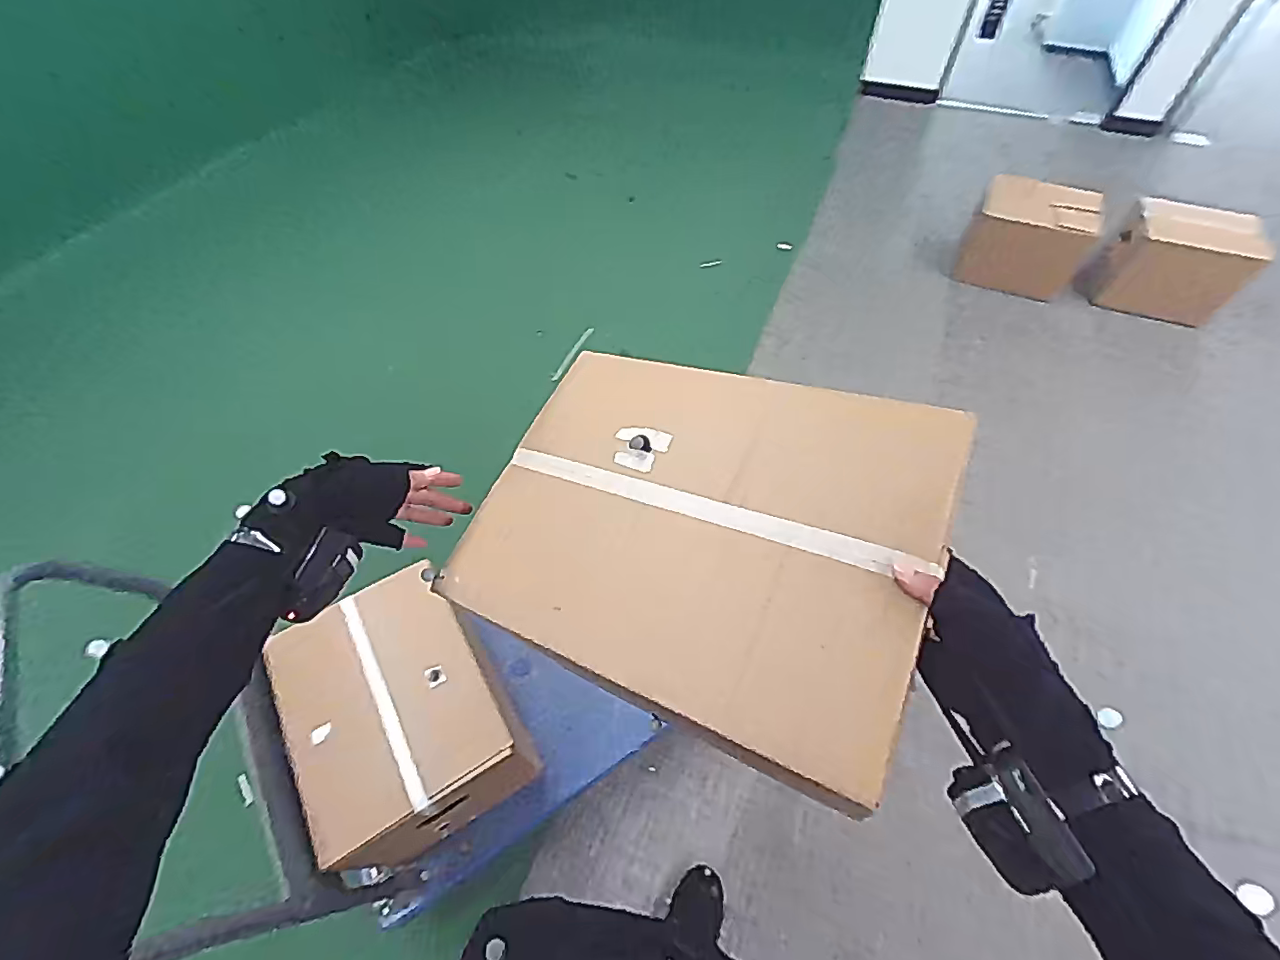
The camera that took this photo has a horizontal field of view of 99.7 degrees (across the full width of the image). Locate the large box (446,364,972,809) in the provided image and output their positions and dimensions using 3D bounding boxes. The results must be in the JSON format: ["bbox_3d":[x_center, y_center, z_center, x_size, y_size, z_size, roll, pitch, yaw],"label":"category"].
[{"bbox_3d":[0.091,0.109,0.599,0.408,0.320,0.320,15,65,29],"label":"large box"}]
